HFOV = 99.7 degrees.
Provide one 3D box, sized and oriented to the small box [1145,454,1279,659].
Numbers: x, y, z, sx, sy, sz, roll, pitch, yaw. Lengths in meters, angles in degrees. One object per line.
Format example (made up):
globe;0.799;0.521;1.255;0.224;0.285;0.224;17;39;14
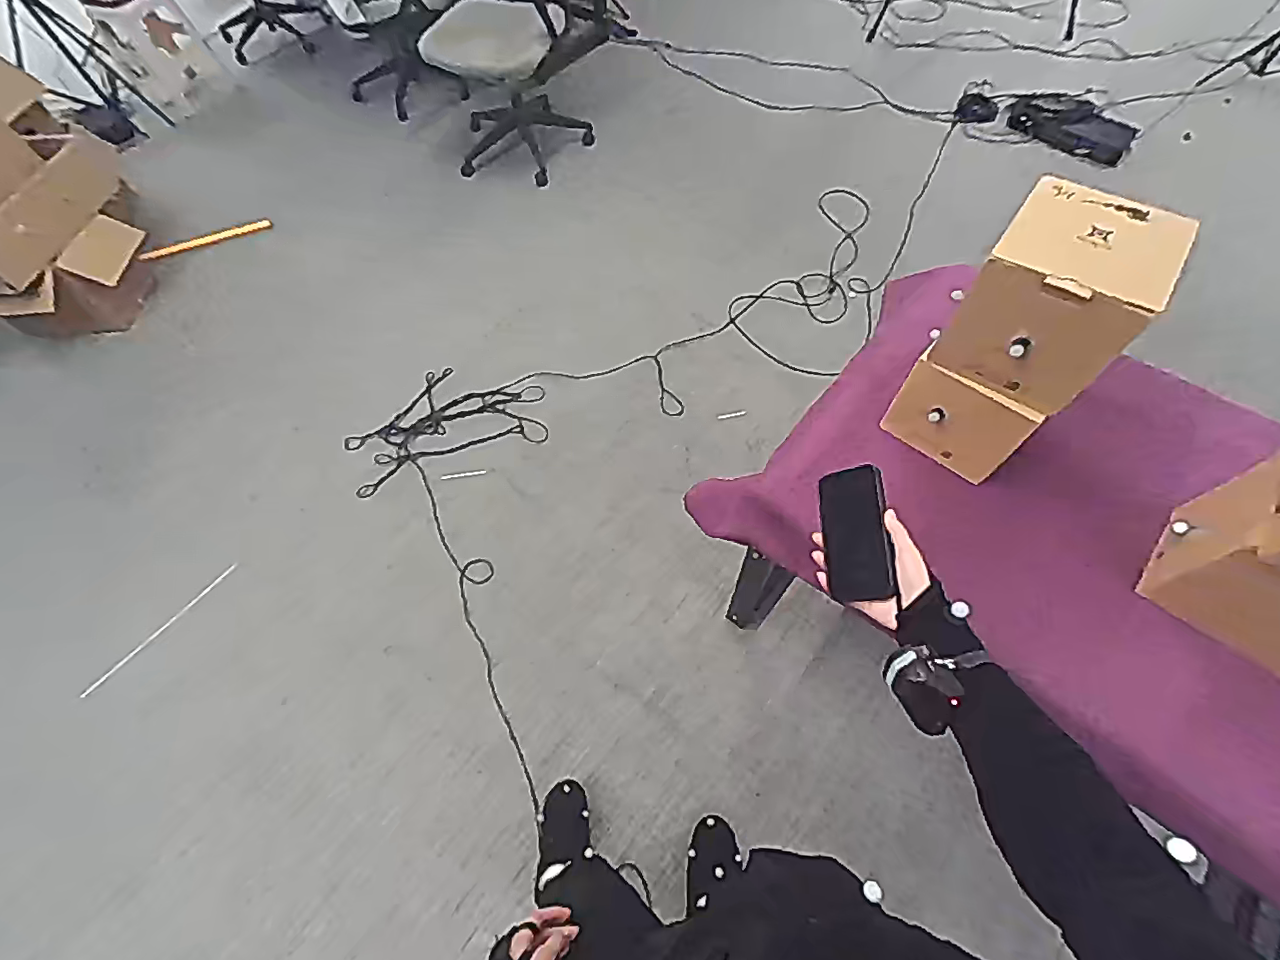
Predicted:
small box;0.767;0.091;0.631;0.179;0.176;0.168;37;69;22

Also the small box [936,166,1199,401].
small box;0.487;-0.227;0.645;0.168;0.176;0.179;33;68;20

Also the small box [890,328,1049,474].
small box;0.492;-0.140;0.785;0.168;0.176;0.179;38;69;22
